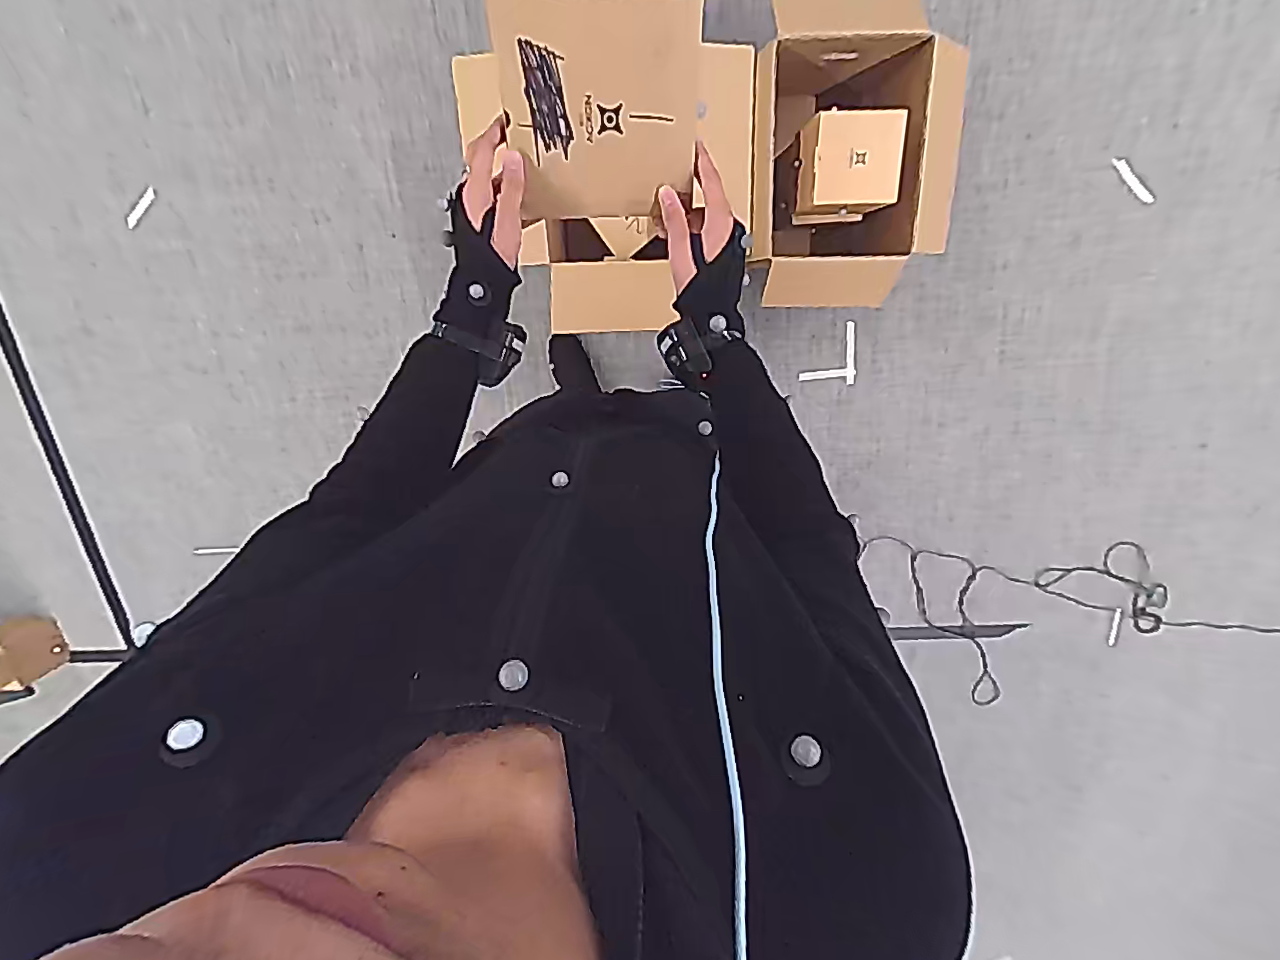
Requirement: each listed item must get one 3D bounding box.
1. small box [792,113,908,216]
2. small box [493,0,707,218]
[{"bbox_3d":[0.437,-0.665,1.153,0.179,0.176,0.168,-1,110,1],"label":"small box"},{"bbox_3d":[-0.033,-0.375,0.545,0.179,0.176,0.168,1,130,0],"label":"small box"}]
